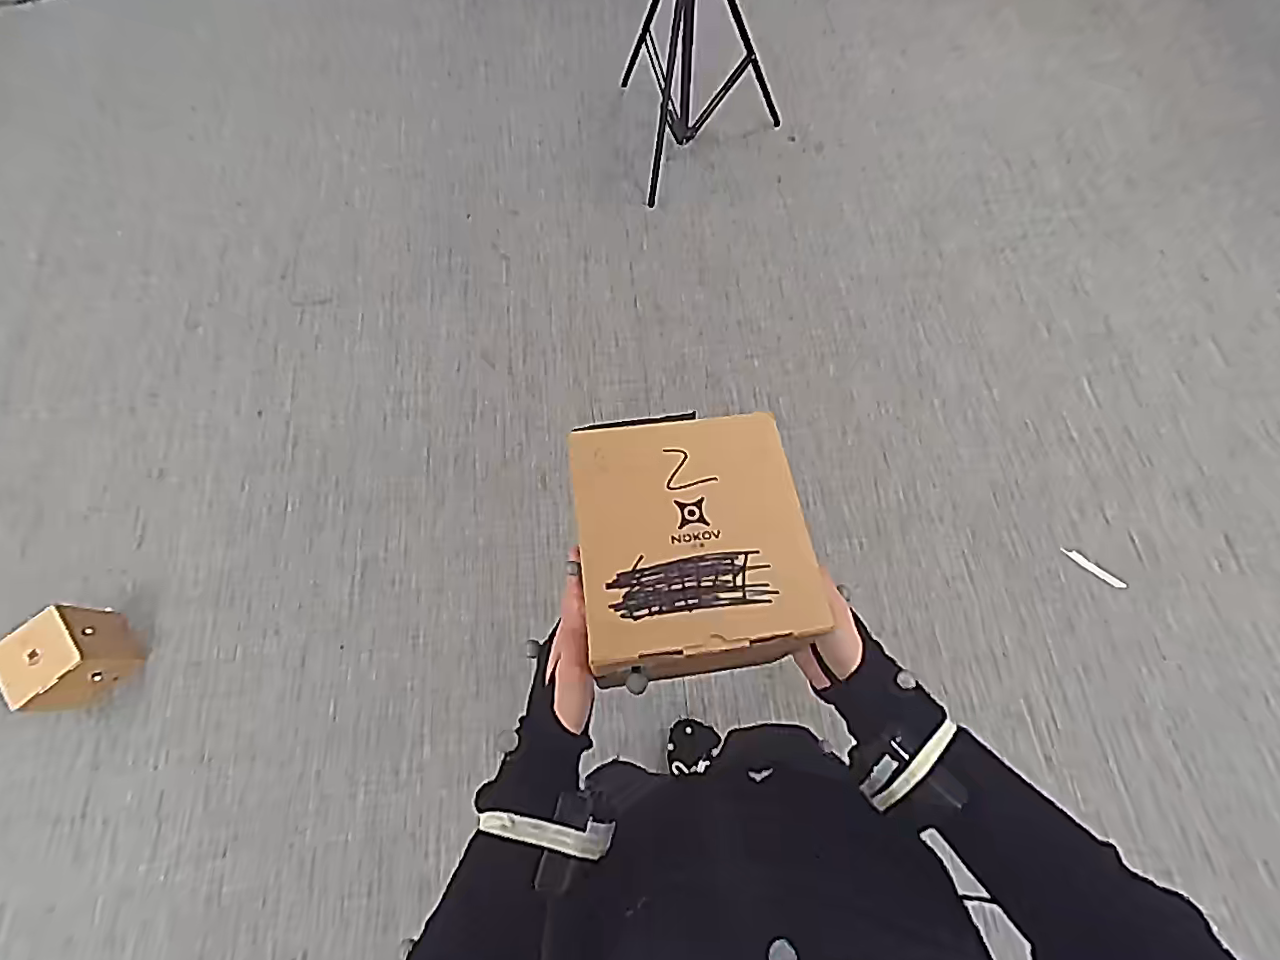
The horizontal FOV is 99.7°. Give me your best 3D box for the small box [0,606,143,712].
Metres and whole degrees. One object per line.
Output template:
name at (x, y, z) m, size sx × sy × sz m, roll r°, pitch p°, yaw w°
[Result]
small box at (-1.372, 0.432, 1.307) m, size 0.168 × 0.176 × 0.179 m, roll -42°, pitch 73°, yaw -13°
